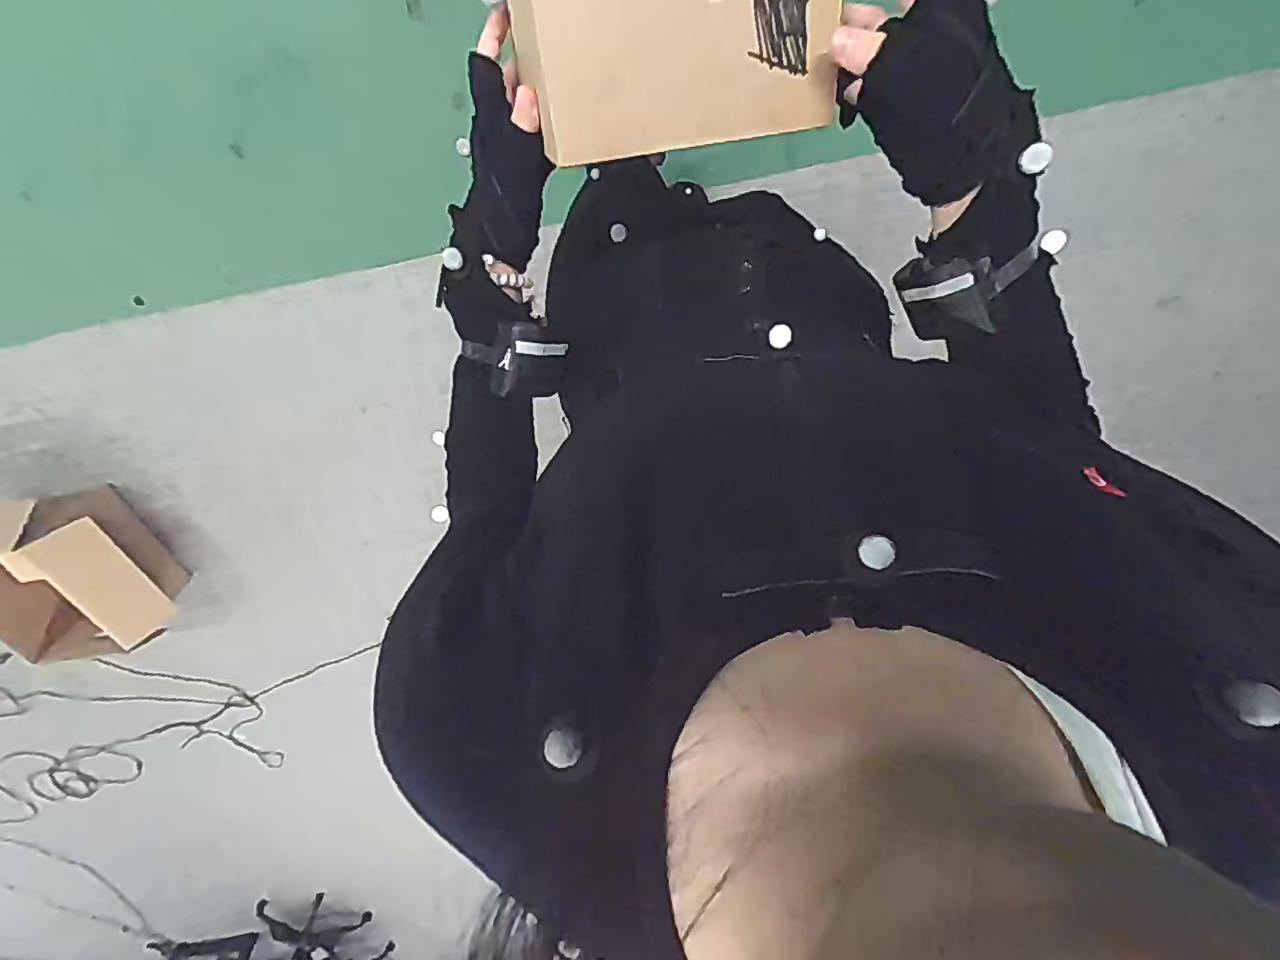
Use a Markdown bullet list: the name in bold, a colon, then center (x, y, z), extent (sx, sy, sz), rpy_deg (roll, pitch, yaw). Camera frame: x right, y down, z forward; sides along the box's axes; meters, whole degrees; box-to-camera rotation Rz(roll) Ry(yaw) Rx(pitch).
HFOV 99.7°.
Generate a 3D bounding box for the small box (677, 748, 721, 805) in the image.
- **small box**: center (0.274, 1.373, 2.508), extent (0.168, 0.176, 0.179), rpy_deg (-12, 124, 5)
